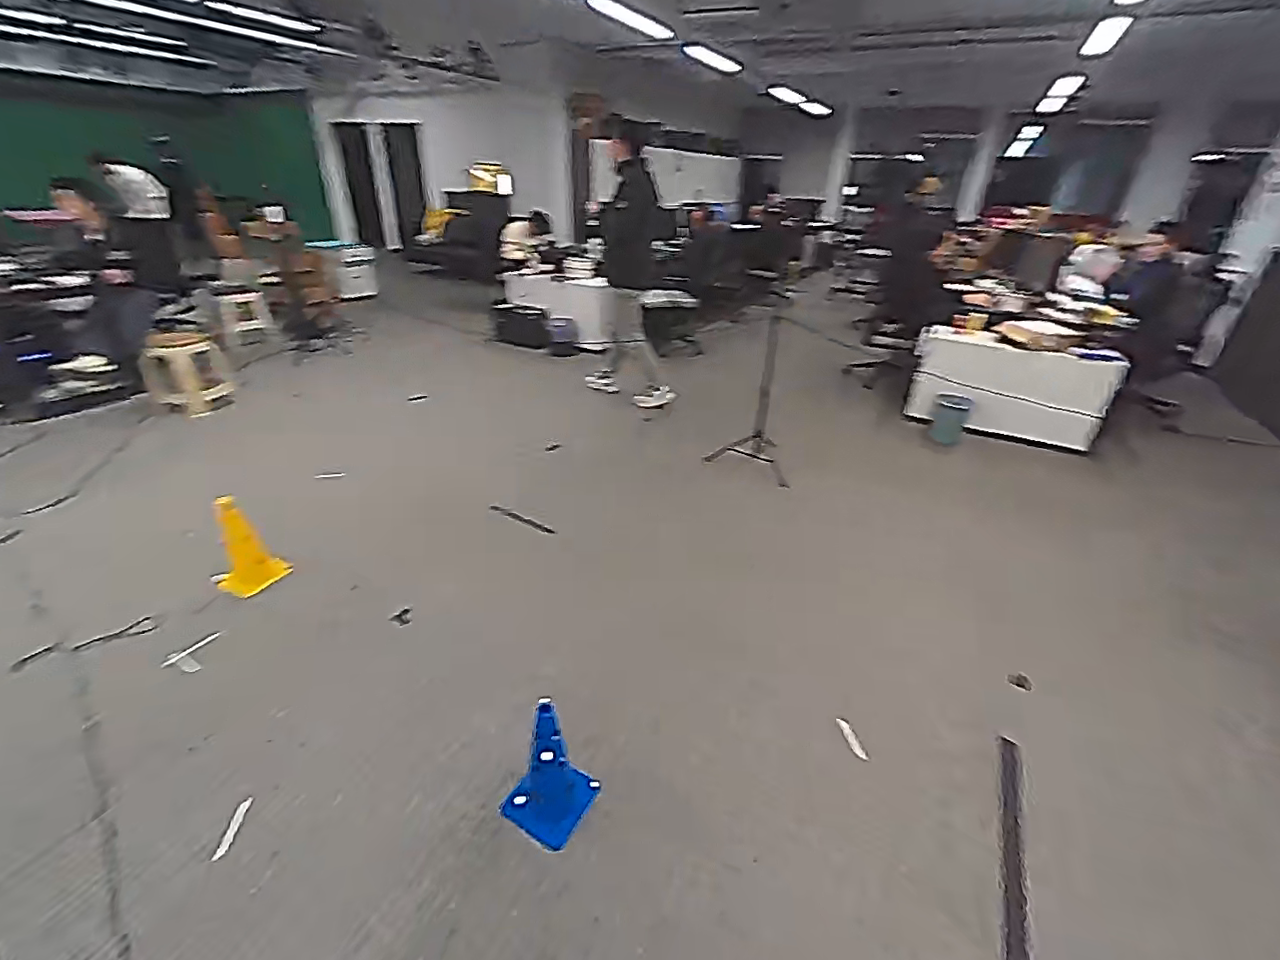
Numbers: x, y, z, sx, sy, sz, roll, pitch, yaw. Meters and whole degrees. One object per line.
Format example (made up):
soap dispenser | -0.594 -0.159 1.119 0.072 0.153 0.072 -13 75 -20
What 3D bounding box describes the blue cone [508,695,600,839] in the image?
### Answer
blue cone | -0.218 0.682 1.341 0.193 0.380 0.192 19 32 26
